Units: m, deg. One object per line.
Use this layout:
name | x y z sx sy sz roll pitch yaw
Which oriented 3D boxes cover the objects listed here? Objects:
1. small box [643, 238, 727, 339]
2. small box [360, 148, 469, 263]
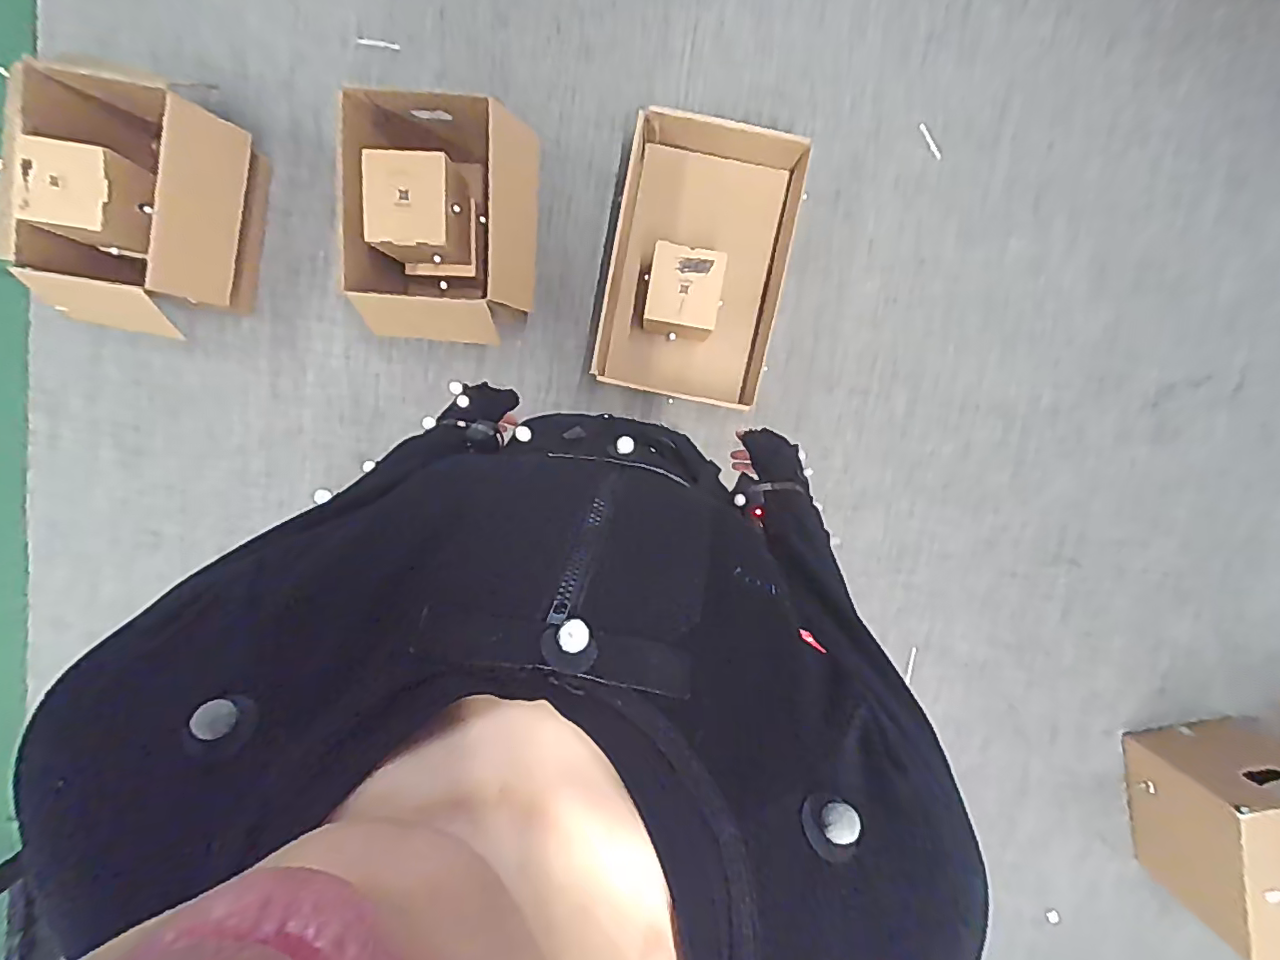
small box | 0.099 -0.446 1.285 0.168 0.176 0.179 10 96 -1
small box | -0.468 -0.570 1.144 0.168 0.176 0.179 2 98 0
